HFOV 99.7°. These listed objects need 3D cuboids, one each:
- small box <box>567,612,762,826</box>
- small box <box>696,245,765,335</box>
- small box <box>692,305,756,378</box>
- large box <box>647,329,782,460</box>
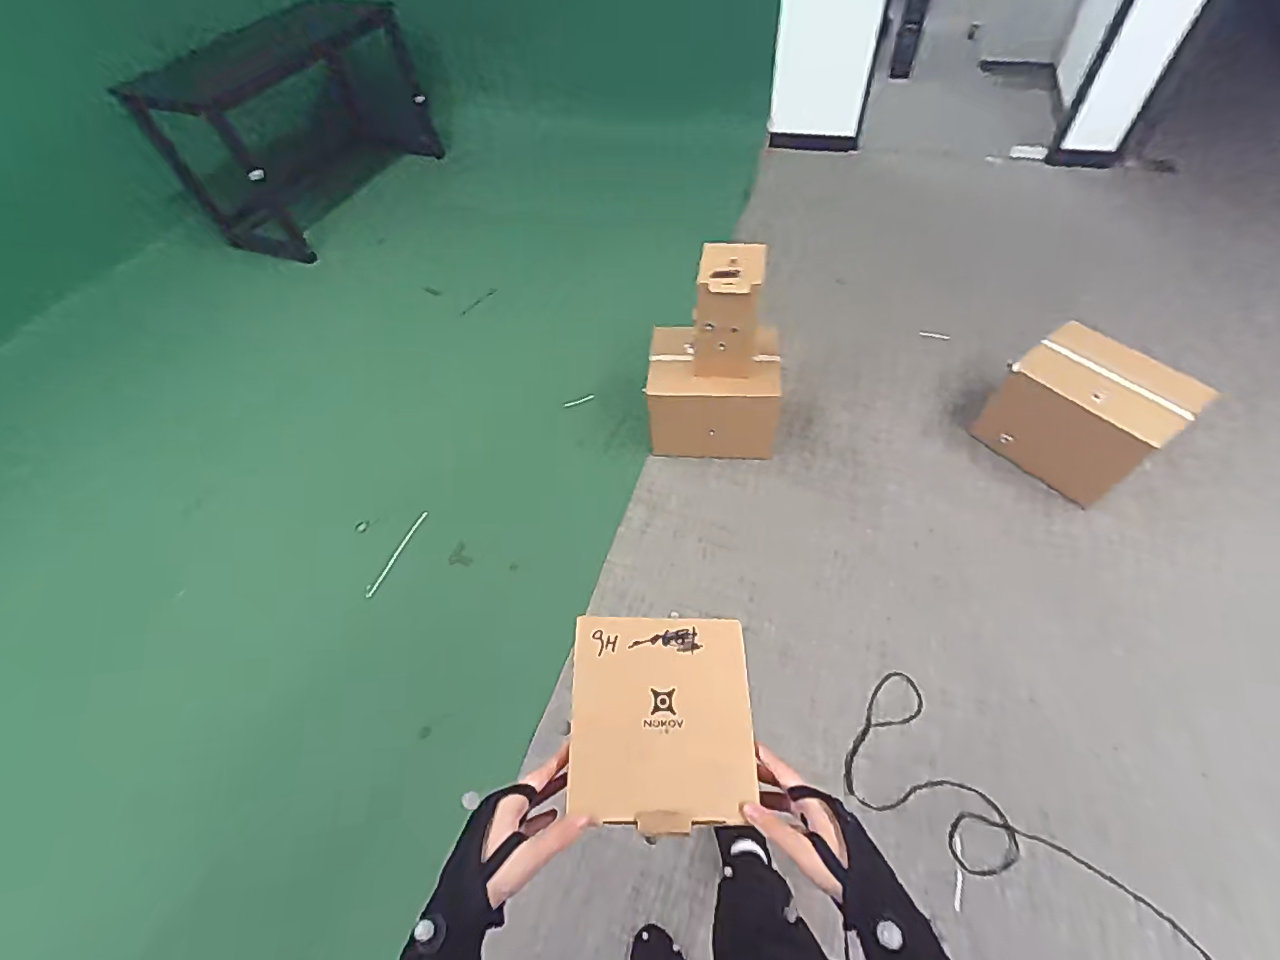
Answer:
[{"bbox_3d":[0.018,0.247,0.556,0.168,0.176,0.179,3,60,-4],"label":"small box"},{"bbox_3d":[0.246,-0.514,1.468,0.168,0.176,0.179,6,57,10],"label":"small box"},{"bbox_3d":[0.251,-0.418,1.602,0.179,0.176,0.168,4,57,9],"label":"small box"},{"bbox_3d":[0.246,-0.278,1.804,0.408,0.320,0.320,0,54,8],"label":"large box"}]
